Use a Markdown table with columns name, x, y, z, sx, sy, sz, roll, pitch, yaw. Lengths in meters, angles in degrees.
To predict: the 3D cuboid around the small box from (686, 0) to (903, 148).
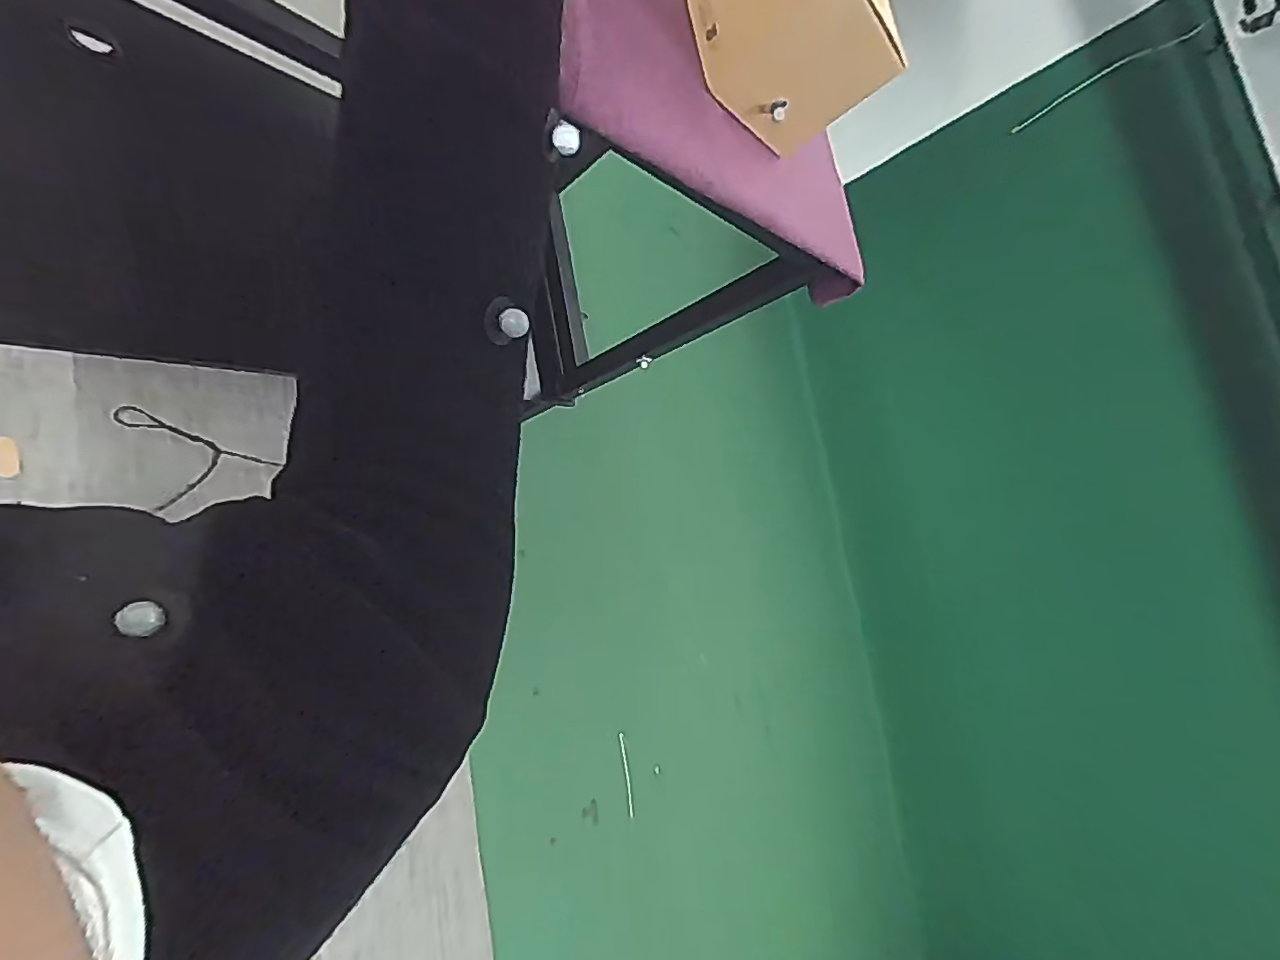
| name | x | y | z | sx | sy | sz | roll | pitch | yaw |
| --- | --- | --- | --- | --- | --- | --- | --- | --- | --- |
| small box | 0.173 | -0.528 | 0.623 | 0.179 | 0.176 | 0.168 | -1 | 76 | -48 |
